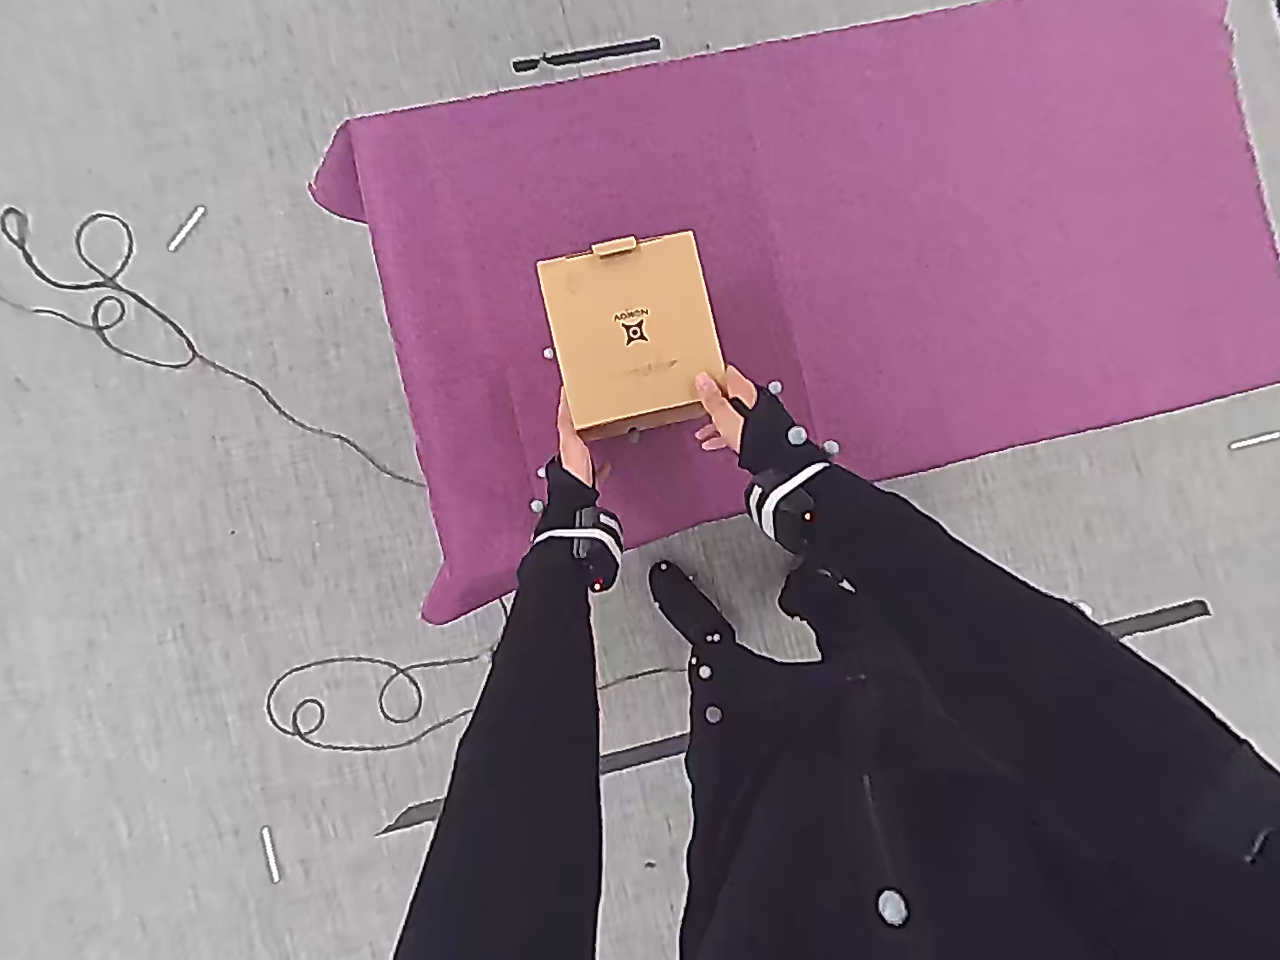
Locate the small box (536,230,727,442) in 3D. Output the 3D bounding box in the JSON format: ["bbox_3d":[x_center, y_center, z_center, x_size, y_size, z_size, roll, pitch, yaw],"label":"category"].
[{"bbox_3d":[-0.013,-0.150,0.619,0.168,0.176,0.179,-13,90,-3],"label":"small box"}]
